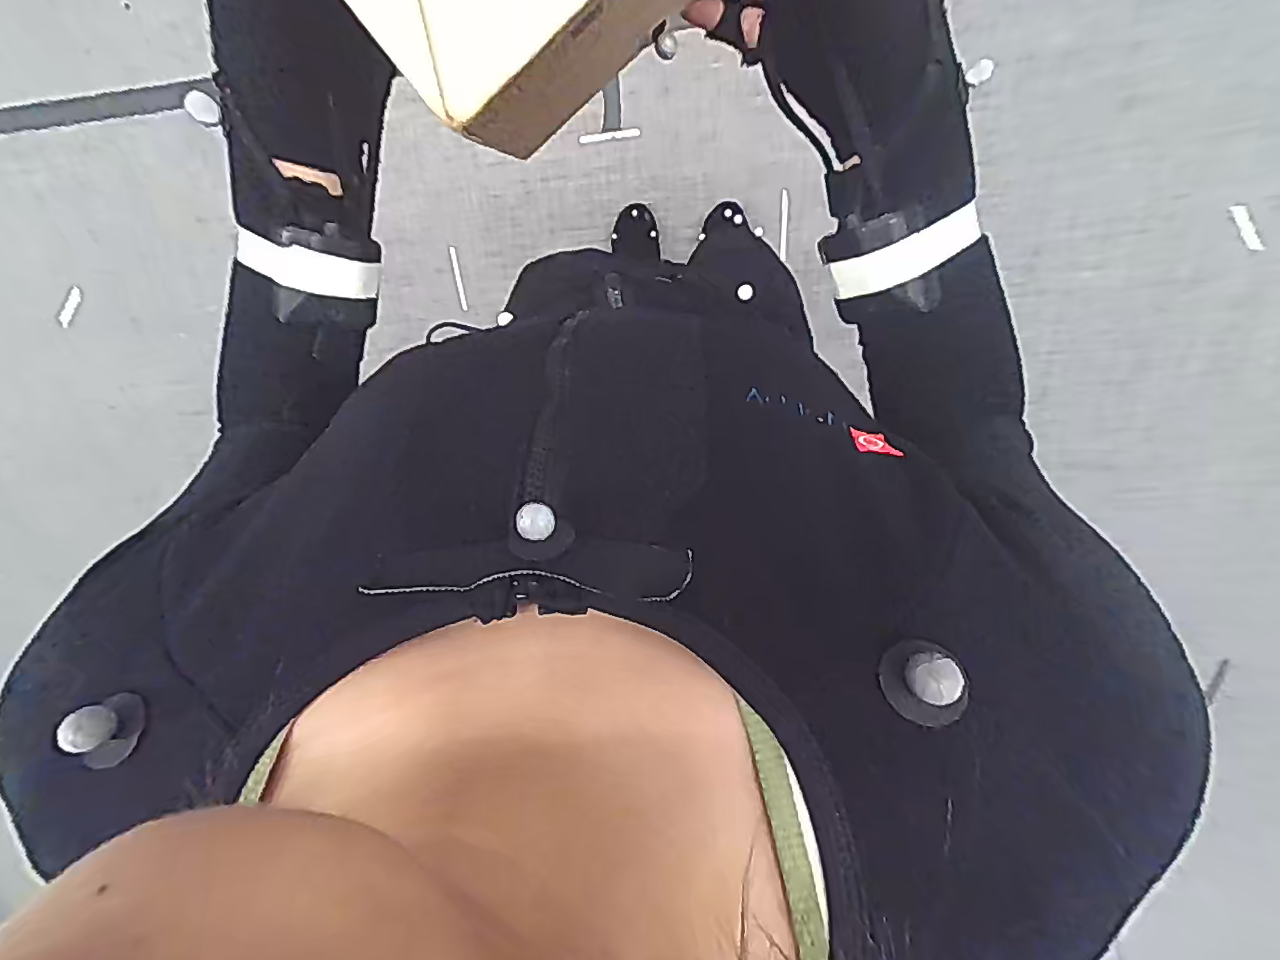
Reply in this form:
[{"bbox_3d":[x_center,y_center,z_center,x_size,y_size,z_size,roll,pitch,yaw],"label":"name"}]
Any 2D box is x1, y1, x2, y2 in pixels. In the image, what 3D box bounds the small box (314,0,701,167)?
[{"bbox_3d":[-0.062,-0.258,0.207,0.168,0.176,0.179,-32,113,14],"label":"small box"}]
